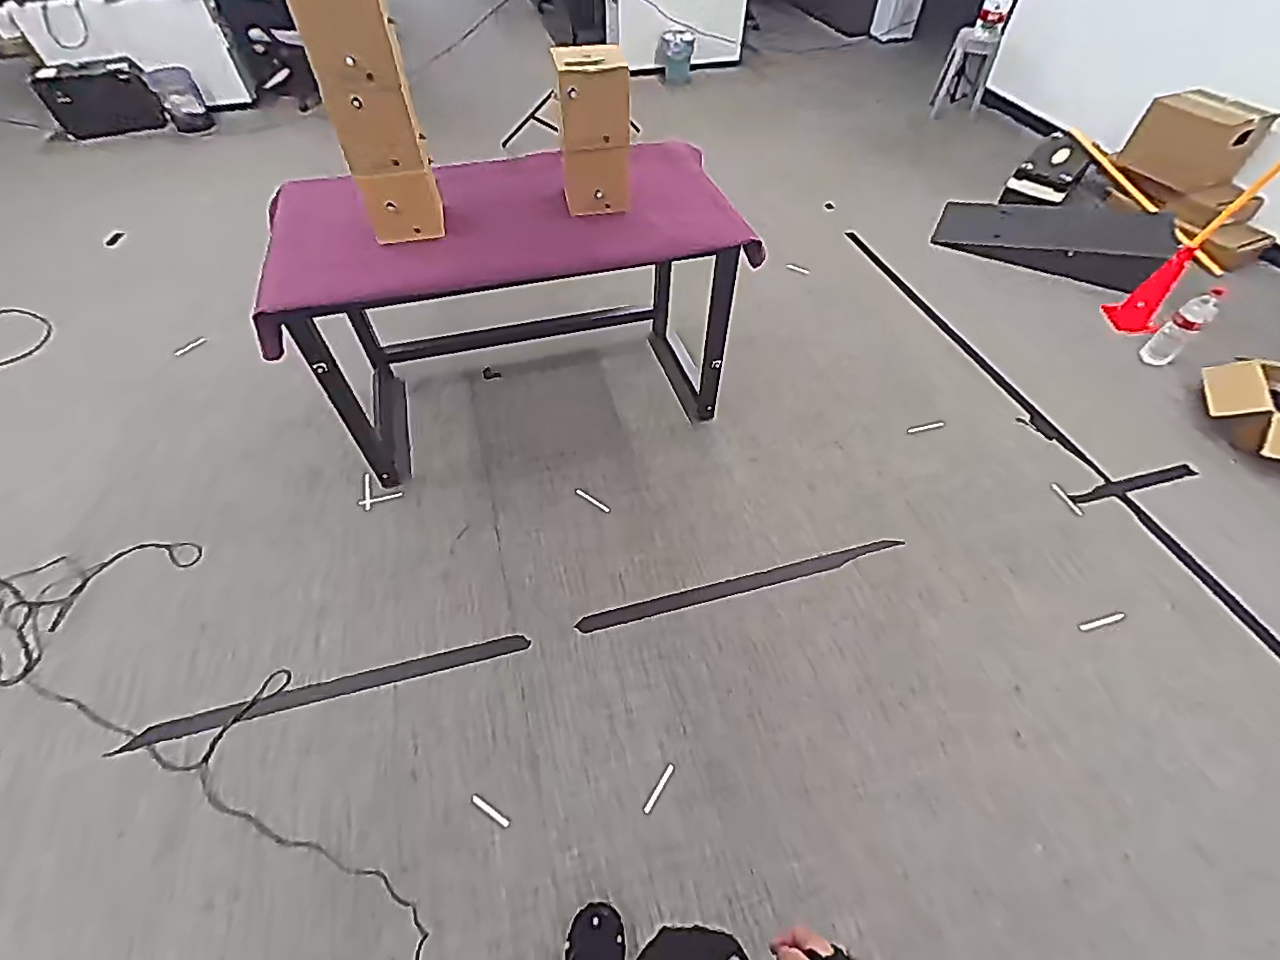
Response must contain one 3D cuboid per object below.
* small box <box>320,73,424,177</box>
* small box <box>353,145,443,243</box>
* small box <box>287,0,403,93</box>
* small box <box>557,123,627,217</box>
[{"bbox_3d":[-0.608,-0.826,1.248,0.168,0.176,0.179,-13,53,-10],"label":"small box"},{"bbox_3d":[-0.608,-0.722,1.374,0.168,0.176,0.179,-12,53,-10],"label":"small box"},{"bbox_3d":[-0.602,-0.926,1.116,0.168,0.176,0.179,-12,54,-10],"label":"small box"},{"bbox_3d":[-0.129,-0.843,1.472,0.168,0.176,0.179,-9,53,-6],"label":"small box"}]
